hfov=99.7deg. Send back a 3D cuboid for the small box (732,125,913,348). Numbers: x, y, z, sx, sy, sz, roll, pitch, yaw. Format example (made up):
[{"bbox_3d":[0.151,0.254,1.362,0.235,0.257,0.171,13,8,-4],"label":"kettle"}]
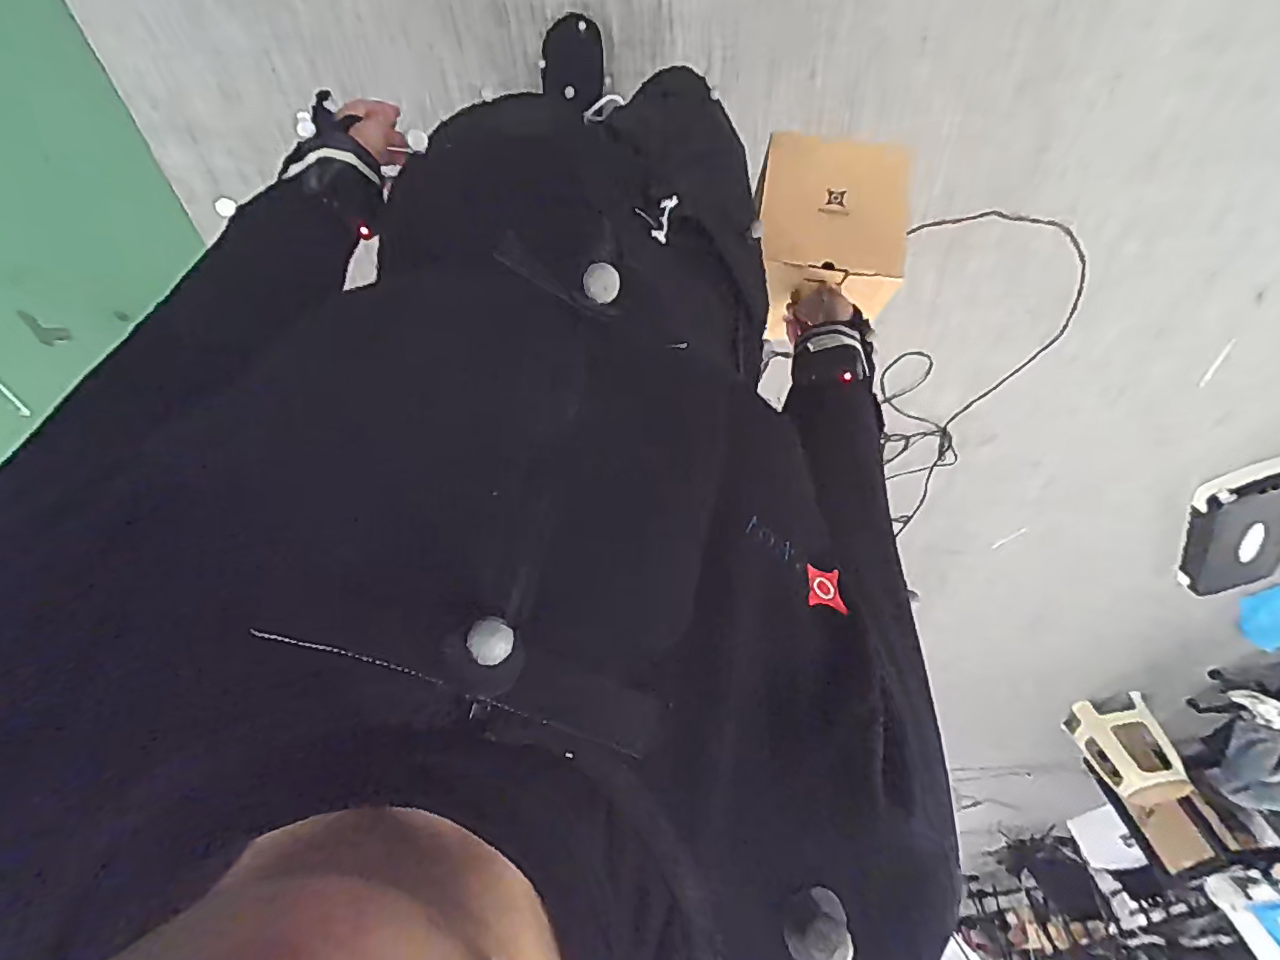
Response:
[{"bbox_3d":[0.216,-0.291,0.674,0.168,0.179,0.176,9,167,2],"label":"small box"}]
